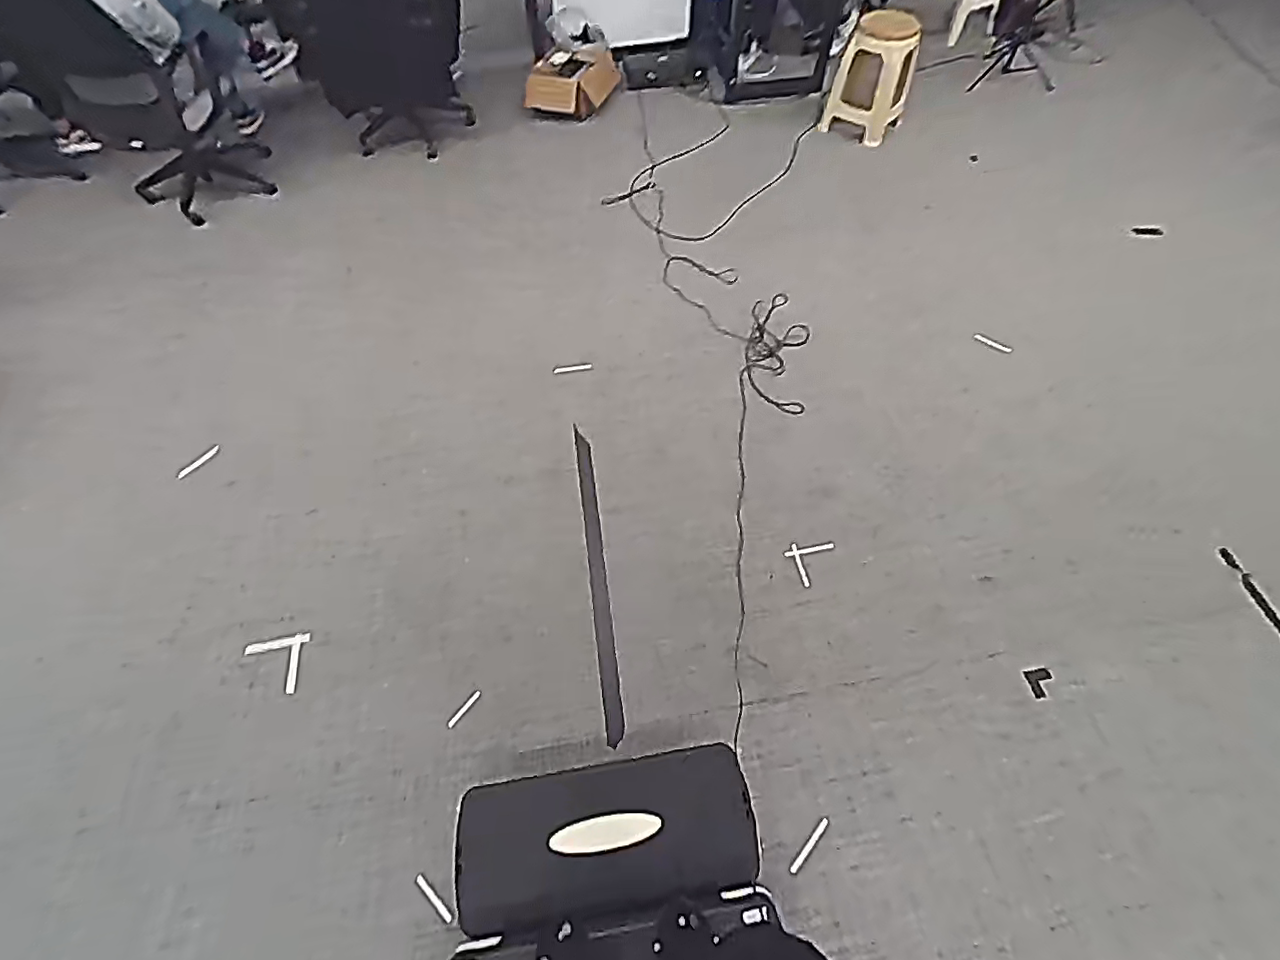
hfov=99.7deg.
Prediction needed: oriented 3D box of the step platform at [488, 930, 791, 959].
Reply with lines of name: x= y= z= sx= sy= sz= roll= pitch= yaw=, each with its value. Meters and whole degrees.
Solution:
step platform: x=-0.024 y=1.060 z=1.006 sx=0.684 sy=0.204 sz=0.286 roll=-5 pitch=56 yaw=0
